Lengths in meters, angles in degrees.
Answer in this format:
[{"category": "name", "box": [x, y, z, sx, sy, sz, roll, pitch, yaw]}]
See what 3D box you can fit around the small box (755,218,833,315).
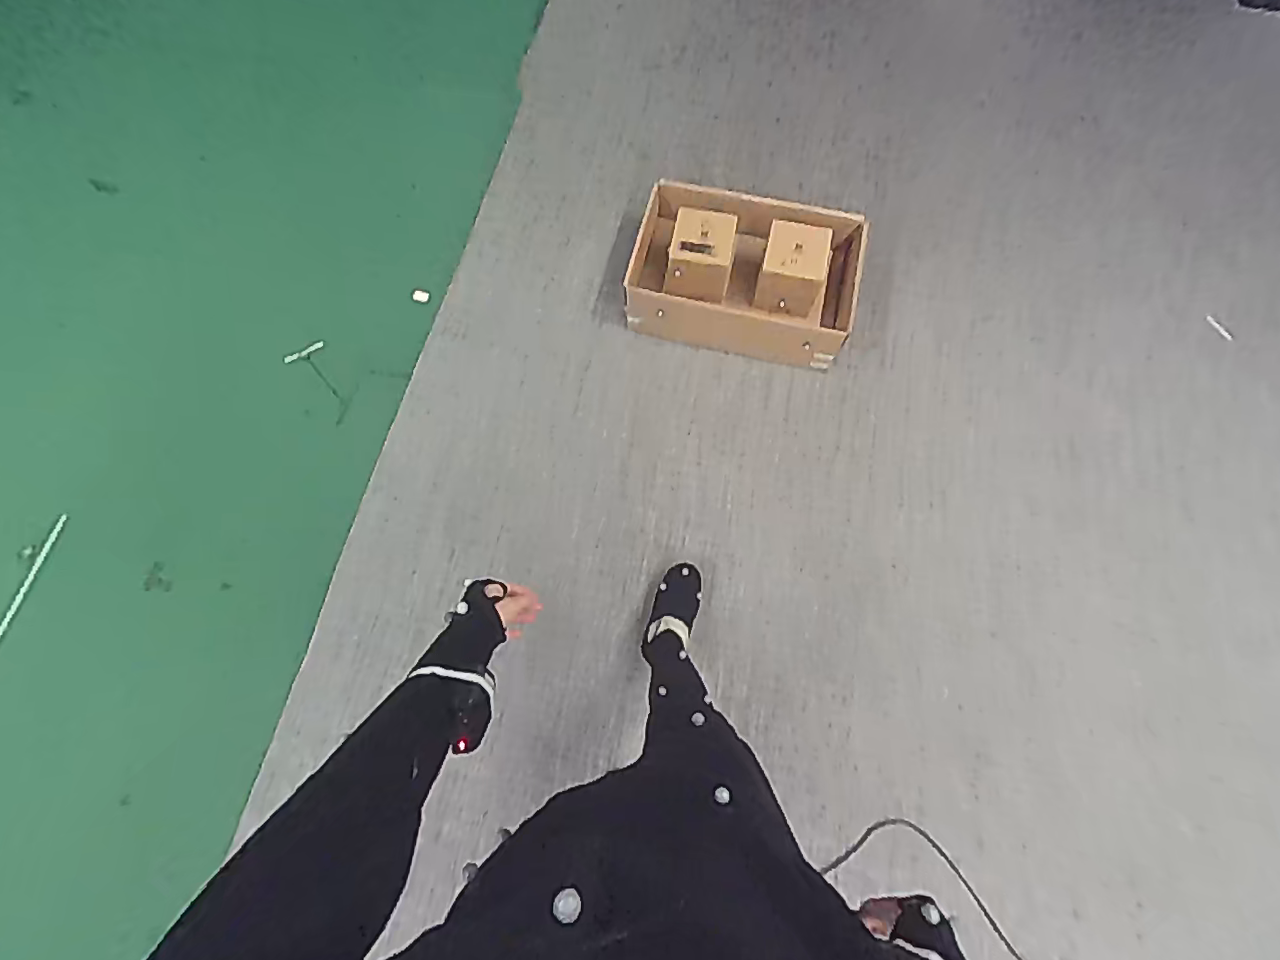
[{"category": "small box", "box": [0.429, -0.598, 1.526, 0.168, 0.176, 0.179, 13, 73, 7]}]
